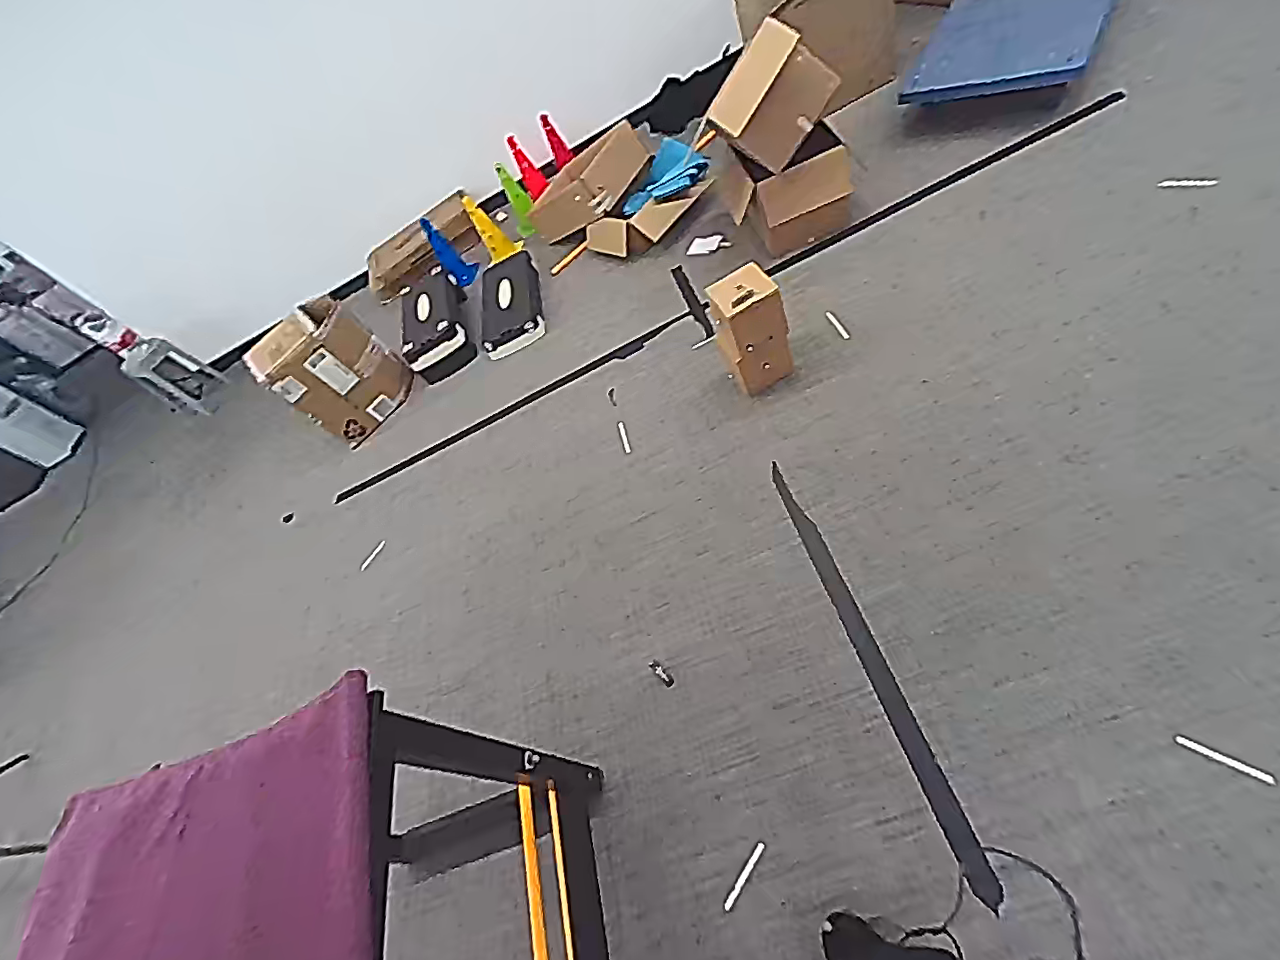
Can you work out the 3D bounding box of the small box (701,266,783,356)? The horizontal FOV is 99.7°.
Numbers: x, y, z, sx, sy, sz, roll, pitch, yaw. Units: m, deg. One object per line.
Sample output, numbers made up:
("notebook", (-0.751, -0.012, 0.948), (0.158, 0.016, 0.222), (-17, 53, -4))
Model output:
("small box", (0.310, -0.499, 1.627), (0.168, 0.176, 0.179), (-29, 49, 5))
